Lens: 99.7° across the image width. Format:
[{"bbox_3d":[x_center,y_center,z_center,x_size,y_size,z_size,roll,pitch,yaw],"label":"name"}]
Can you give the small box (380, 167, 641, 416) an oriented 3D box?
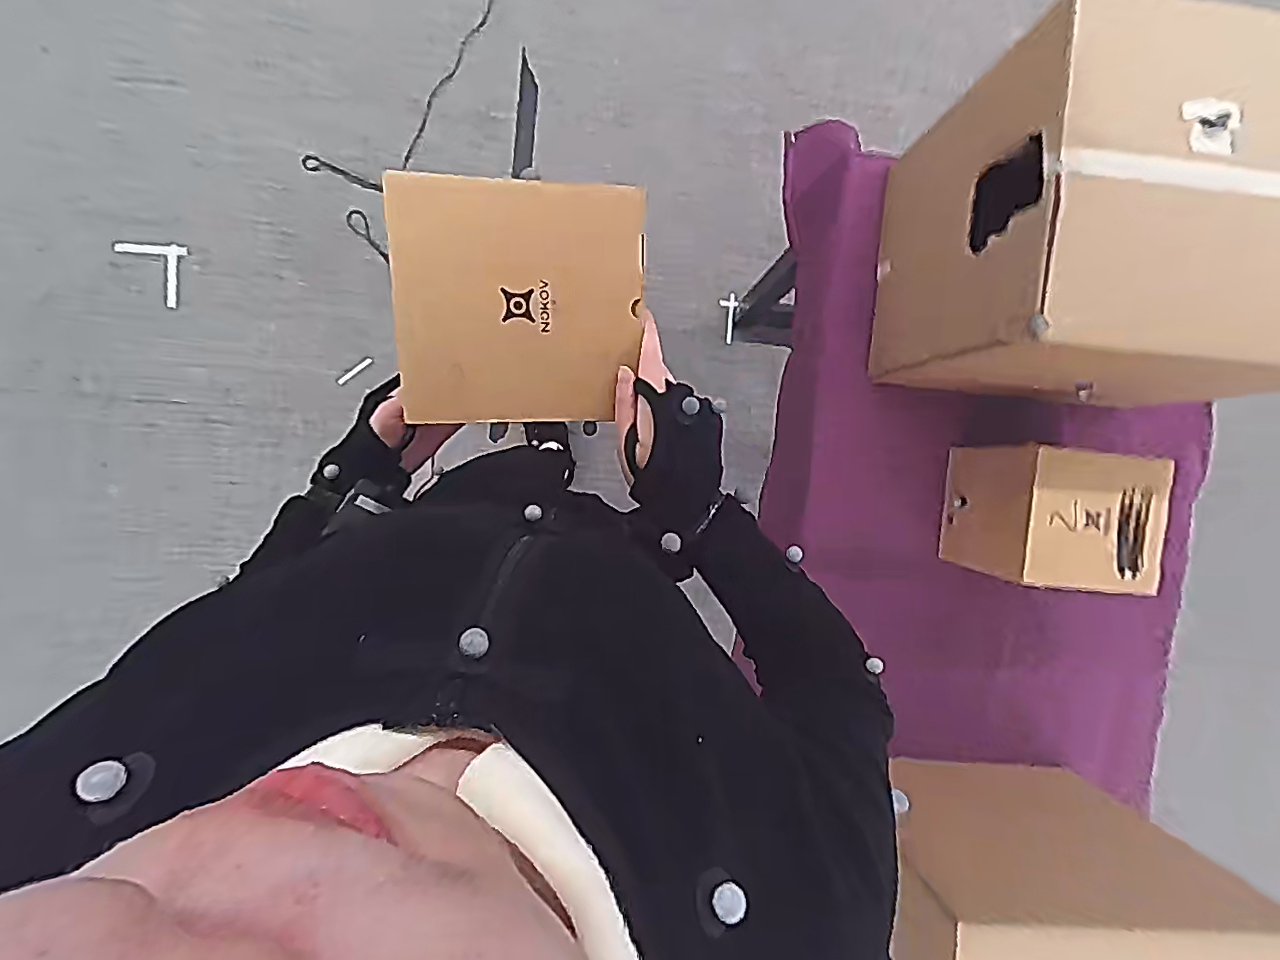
[{"bbox_3d":[-0.100,-0.142,0.459,0.179,0.176,0.168,-2,103,-12],"label":"small box"}]
